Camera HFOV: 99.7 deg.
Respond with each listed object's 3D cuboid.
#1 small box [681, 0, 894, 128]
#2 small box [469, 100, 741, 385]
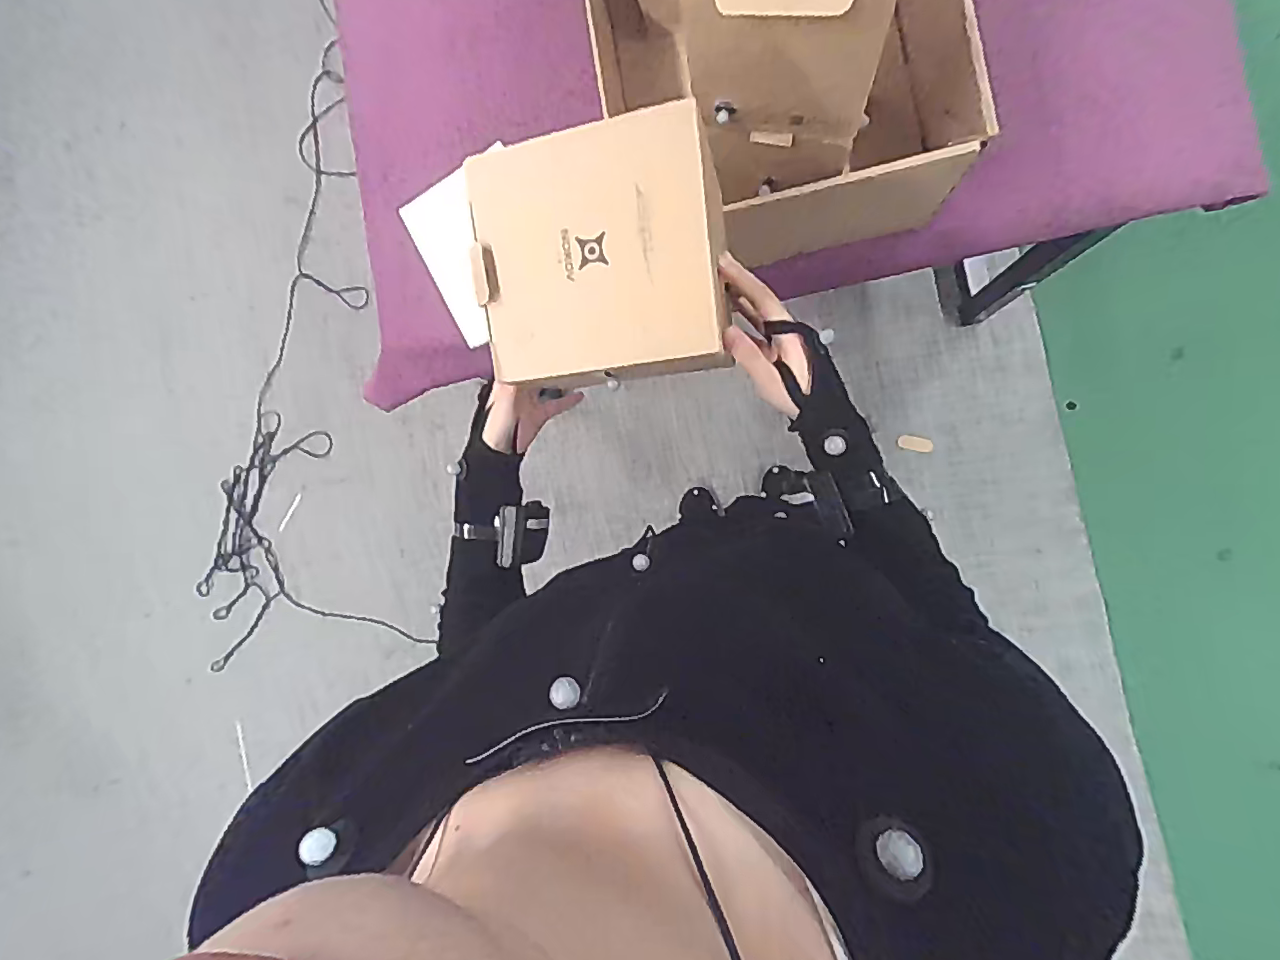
[{"bbox_3d":[0.141,-0.447,0.474,0.168,0.176,0.179,11,89,12],"label":"small box"},{"bbox_3d":[-0.014,-0.172,0.458,0.179,0.176,0.168,-4,98,15],"label":"small box"}]
